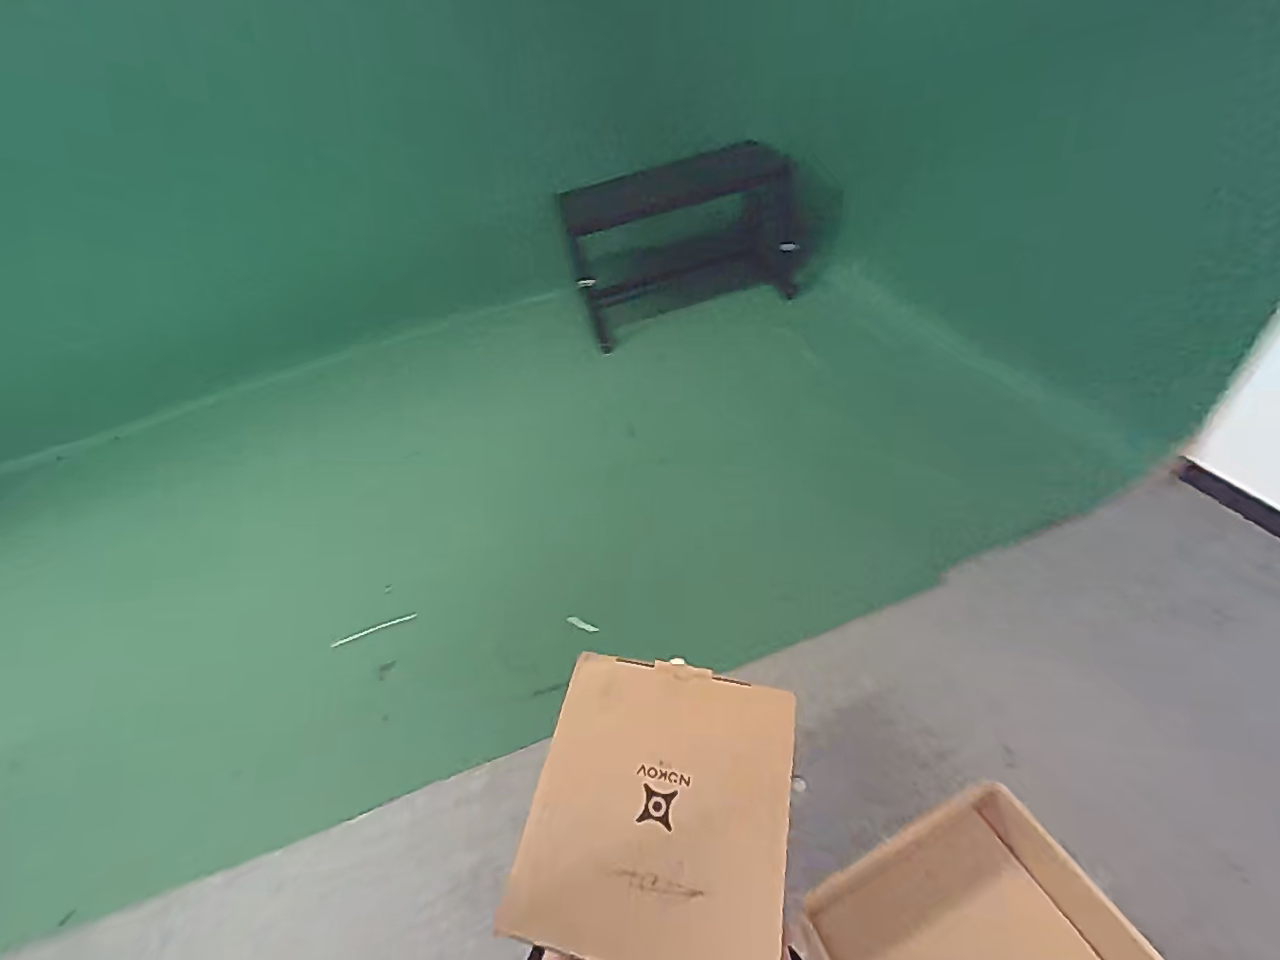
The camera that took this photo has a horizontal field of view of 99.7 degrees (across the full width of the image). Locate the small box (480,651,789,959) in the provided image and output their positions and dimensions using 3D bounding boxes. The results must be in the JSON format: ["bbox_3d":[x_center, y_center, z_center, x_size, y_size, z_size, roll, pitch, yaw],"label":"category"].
[{"bbox_3d":[0.013,0.255,0.400,0.168,0.176,0.179,6,51,13],"label":"small box"}]
